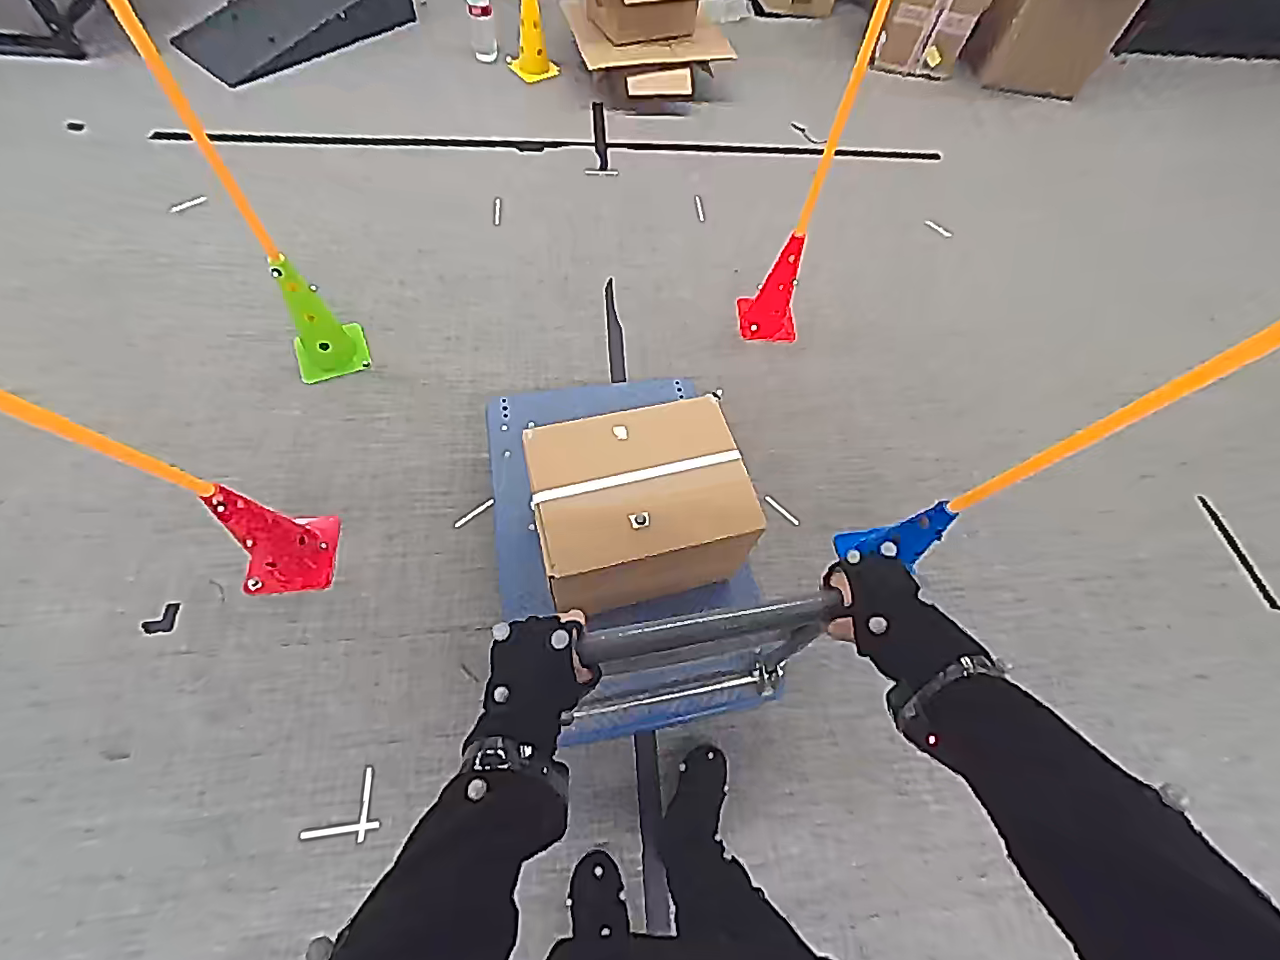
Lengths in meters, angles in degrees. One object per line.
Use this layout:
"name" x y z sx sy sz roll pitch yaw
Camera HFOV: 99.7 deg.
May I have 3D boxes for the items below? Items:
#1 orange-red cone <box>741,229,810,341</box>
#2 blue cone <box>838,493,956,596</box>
"orange-red cone" 0.473 -0.652 1.756 0.199 0.360 0.198 4 62 -5
"blue cone" 0.678 0.144 1.363 0.193 0.380 0.192 -6 61 -9
